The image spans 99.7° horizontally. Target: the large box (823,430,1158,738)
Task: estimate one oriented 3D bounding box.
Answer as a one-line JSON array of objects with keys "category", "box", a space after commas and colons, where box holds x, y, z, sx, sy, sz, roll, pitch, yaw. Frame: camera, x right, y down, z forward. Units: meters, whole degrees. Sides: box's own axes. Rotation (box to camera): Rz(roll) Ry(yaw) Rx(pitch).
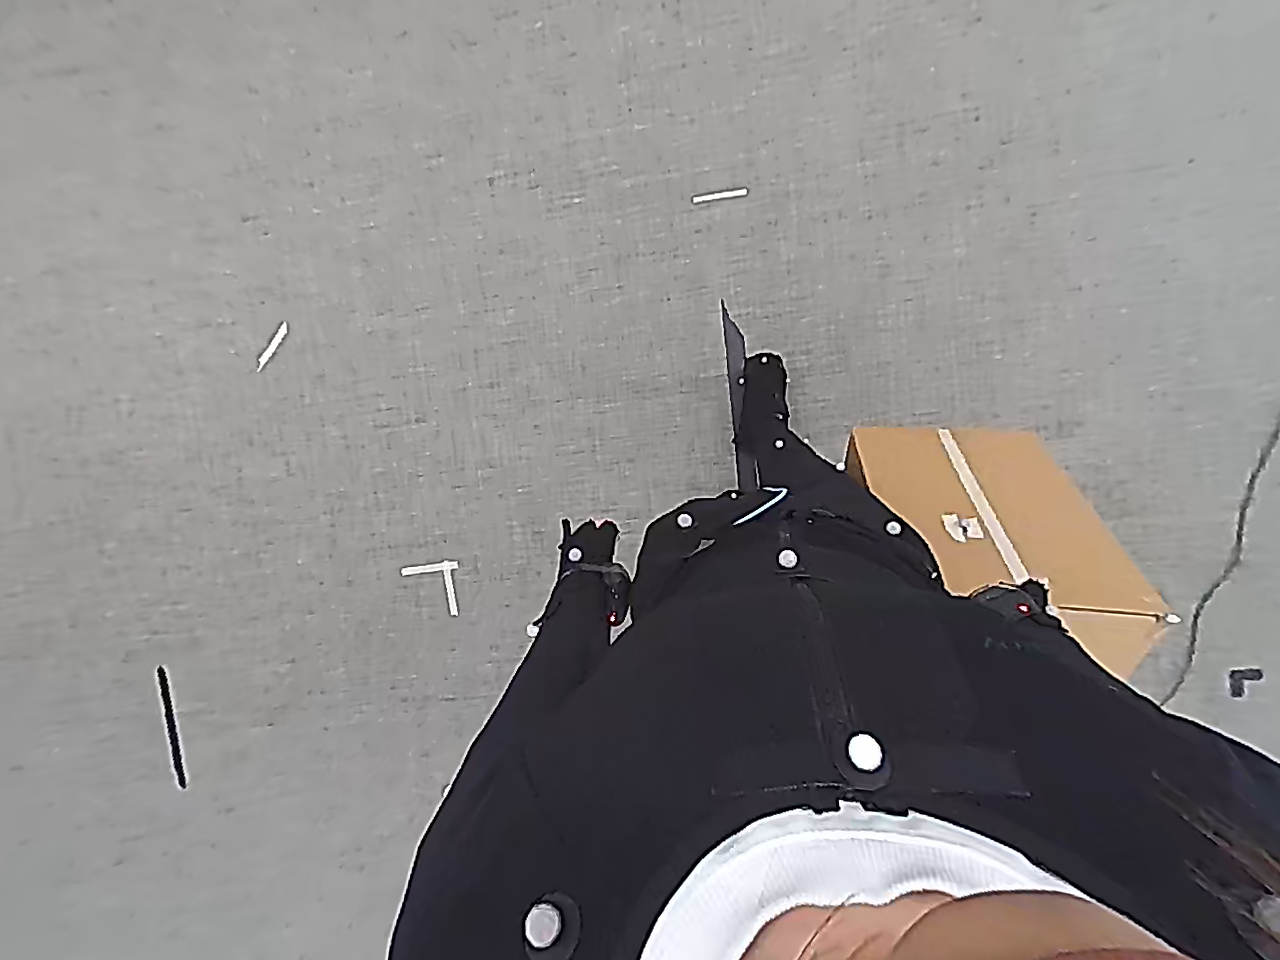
[{"category": "large box", "box": [0.513, 0.155, 0.918, 0.320, 0.408, 0.320, 2, 129, 10]}]
